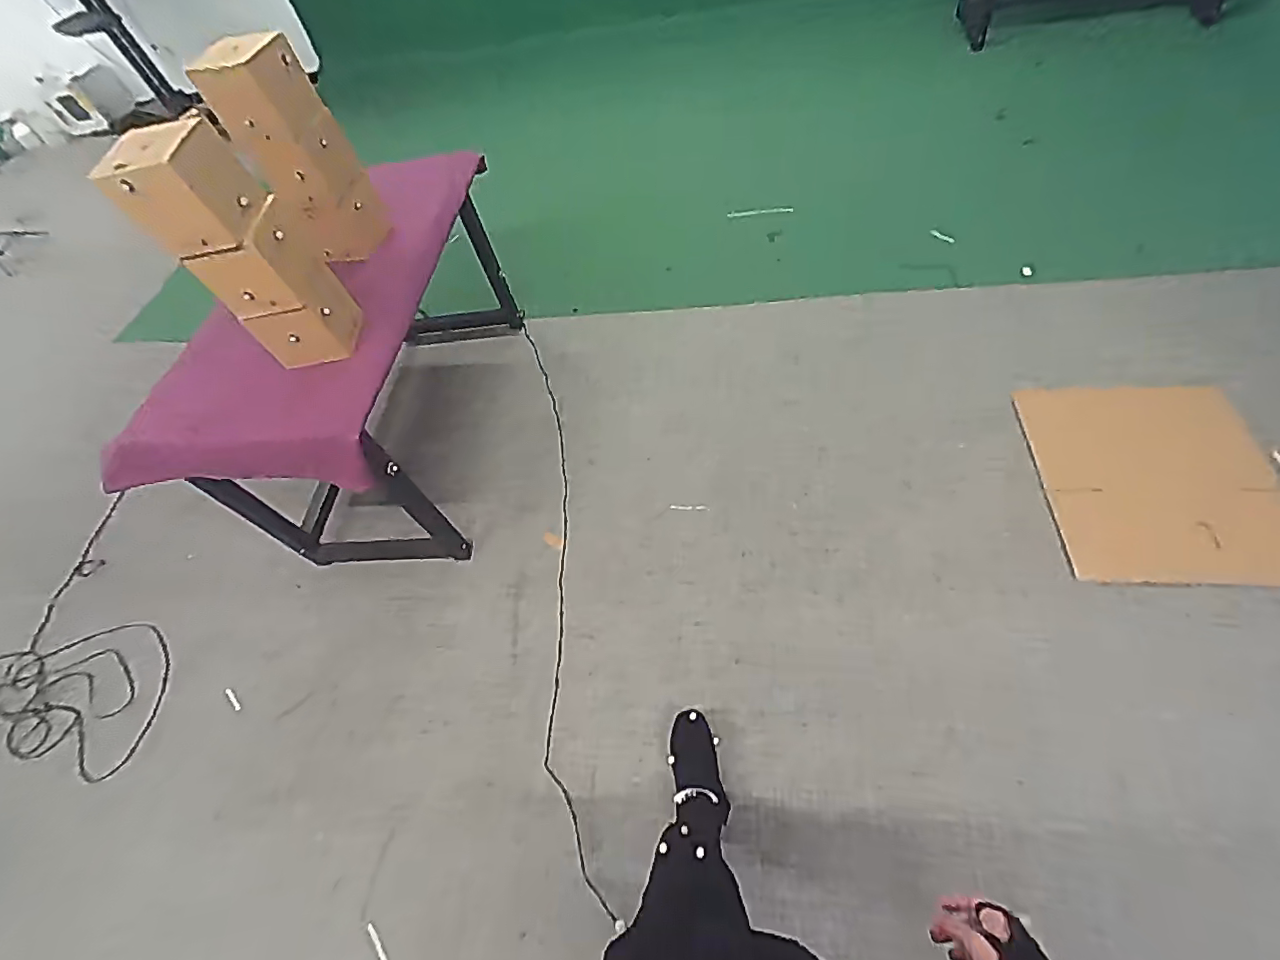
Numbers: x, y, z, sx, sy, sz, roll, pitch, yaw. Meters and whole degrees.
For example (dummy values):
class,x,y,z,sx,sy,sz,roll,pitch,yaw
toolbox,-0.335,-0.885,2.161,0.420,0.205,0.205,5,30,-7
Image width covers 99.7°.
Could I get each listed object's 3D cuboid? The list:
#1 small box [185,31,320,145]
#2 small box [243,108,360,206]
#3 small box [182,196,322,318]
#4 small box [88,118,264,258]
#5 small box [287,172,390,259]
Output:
class,x,y,z,sx,sy,sz,roll,pitch,yaw
small box,-0.913,-0.936,1.298,0.168,0.176,0.179,3,59,12
small box,-0.885,-0.849,1.436,0.168,0.176,0.179,4,59,12
small box,-0.846,-0.490,1.198,0.168,0.176,0.179,-8,57,6
small box,-0.888,-0.567,1.059,0.168,0.176,0.179,-7,57,7
small box,-0.864,-0.764,1.573,0.168,0.176,0.179,5,58,13
